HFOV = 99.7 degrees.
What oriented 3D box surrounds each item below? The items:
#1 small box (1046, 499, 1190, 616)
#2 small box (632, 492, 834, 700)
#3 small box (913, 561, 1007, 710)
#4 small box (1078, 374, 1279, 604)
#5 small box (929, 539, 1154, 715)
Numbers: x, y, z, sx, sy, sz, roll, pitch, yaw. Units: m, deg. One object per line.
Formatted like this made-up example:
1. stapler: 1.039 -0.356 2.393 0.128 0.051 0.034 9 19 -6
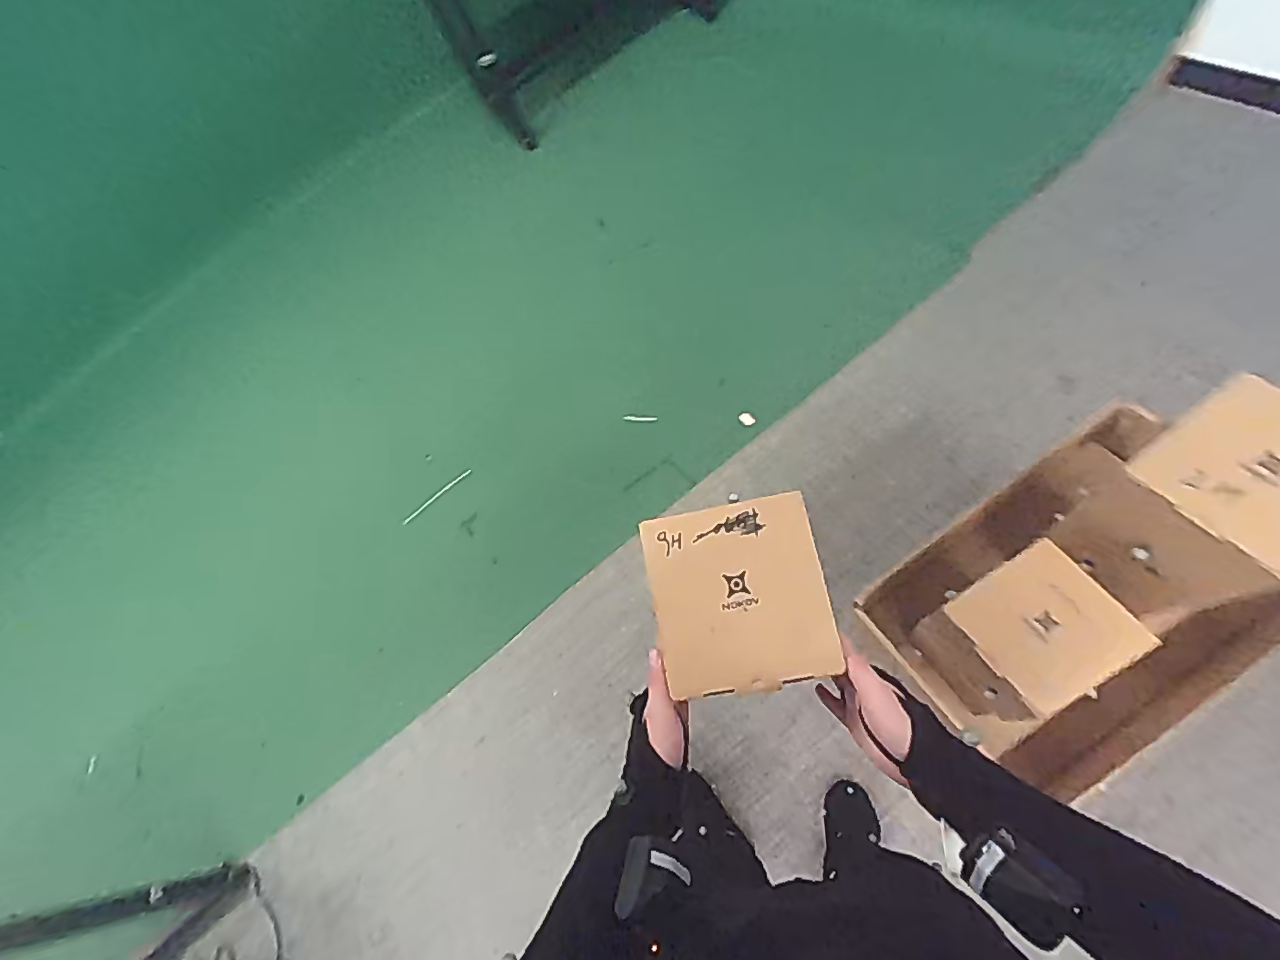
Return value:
1. small box: 0.735 0.072 0.773 0.179 0.176 0.168 -38 61 3
2. small box: 0.096 0.124 0.597 0.168 0.176 0.179 -12 77 4
3. small box: 0.591 0.271 0.913 0.179 0.176 0.168 -35 61 0
4. small box: 0.671 0.019 0.629 0.179 0.176 0.168 -39 60 2
5. small box: 0.541 0.217 0.767 0.179 0.176 0.168 -33 61 1
